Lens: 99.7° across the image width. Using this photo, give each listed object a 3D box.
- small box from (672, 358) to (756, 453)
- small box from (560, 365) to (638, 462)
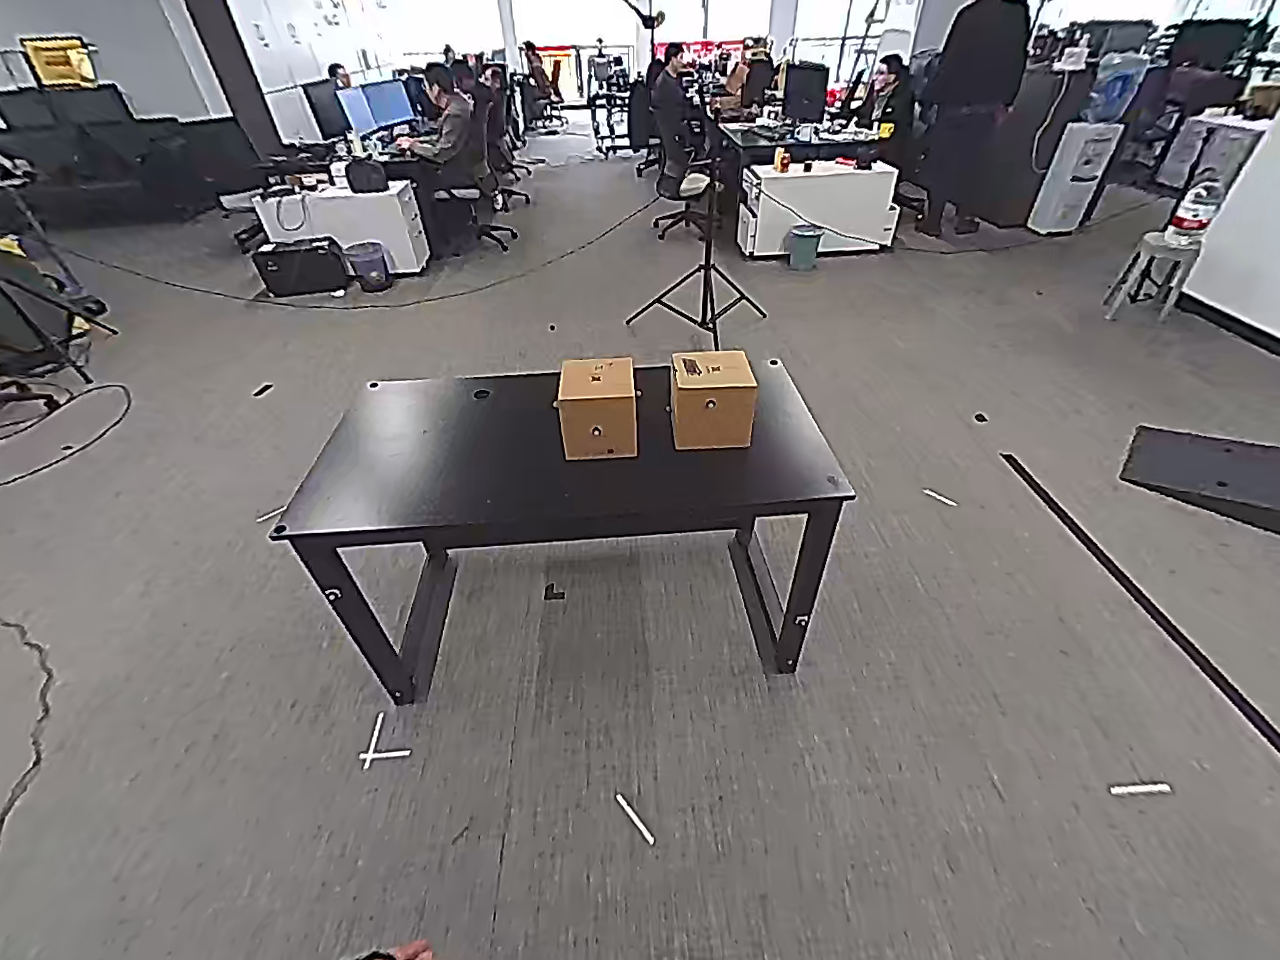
[{"bbox_3d":[0.169,-0.176,1.290,0.179,0.176,0.168,-2,40,-1],"label":"small box"},{"bbox_3d":[-0.091,-0.153,1.276,0.168,0.176,0.179,-3,40,-1],"label":"small box"}]
